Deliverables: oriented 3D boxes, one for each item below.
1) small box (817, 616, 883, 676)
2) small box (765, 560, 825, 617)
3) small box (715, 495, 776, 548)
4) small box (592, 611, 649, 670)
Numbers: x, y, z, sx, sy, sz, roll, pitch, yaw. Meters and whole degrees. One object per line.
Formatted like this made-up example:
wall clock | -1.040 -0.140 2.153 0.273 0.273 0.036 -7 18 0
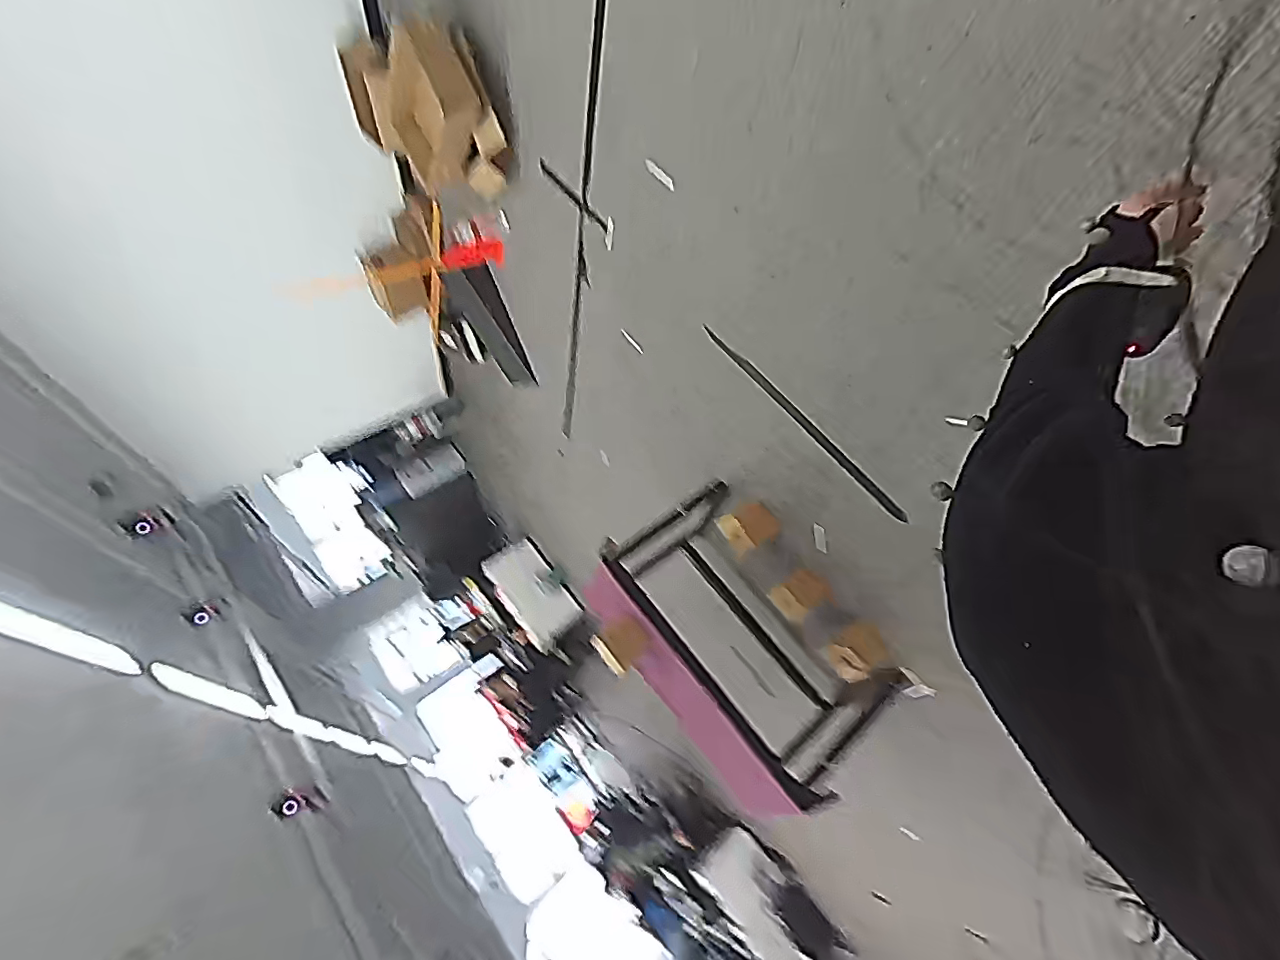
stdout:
small box | 0.906 0.708 2.317 0.168 0.176 0.179 50 154 16
small box | 0.702 0.485 2.432 0.168 0.176 0.179 51 154 16
small box | 0.484 0.186 2.481 0.179 0.176 0.168 56 153 1
small box | -0.086 0.696 2.363 0.179 0.176 0.168 49 154 15
